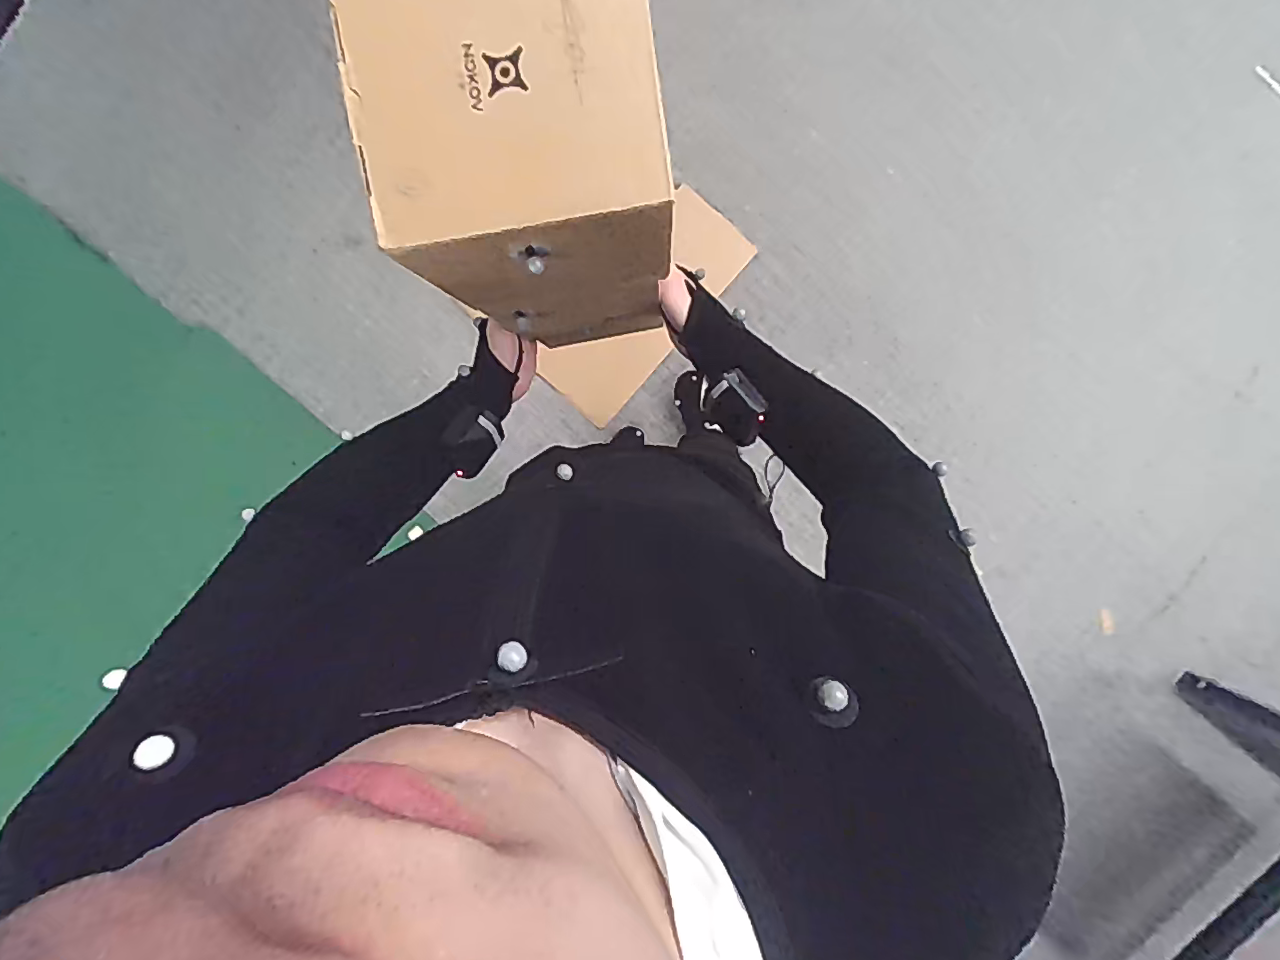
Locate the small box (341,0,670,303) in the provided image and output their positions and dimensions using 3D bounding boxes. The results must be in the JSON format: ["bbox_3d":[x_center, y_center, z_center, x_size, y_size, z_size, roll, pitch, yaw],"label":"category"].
[{"bbox_3d":[-0.073,-0.234,0.385,0.179,0.176,0.168,-7,96,3],"label":"small box"}]

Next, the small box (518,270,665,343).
[{"bbox_3d":[-0.063,-0.284,0.709,0.179,0.176,0.168,-9,95,3],"label":"small box"}]
